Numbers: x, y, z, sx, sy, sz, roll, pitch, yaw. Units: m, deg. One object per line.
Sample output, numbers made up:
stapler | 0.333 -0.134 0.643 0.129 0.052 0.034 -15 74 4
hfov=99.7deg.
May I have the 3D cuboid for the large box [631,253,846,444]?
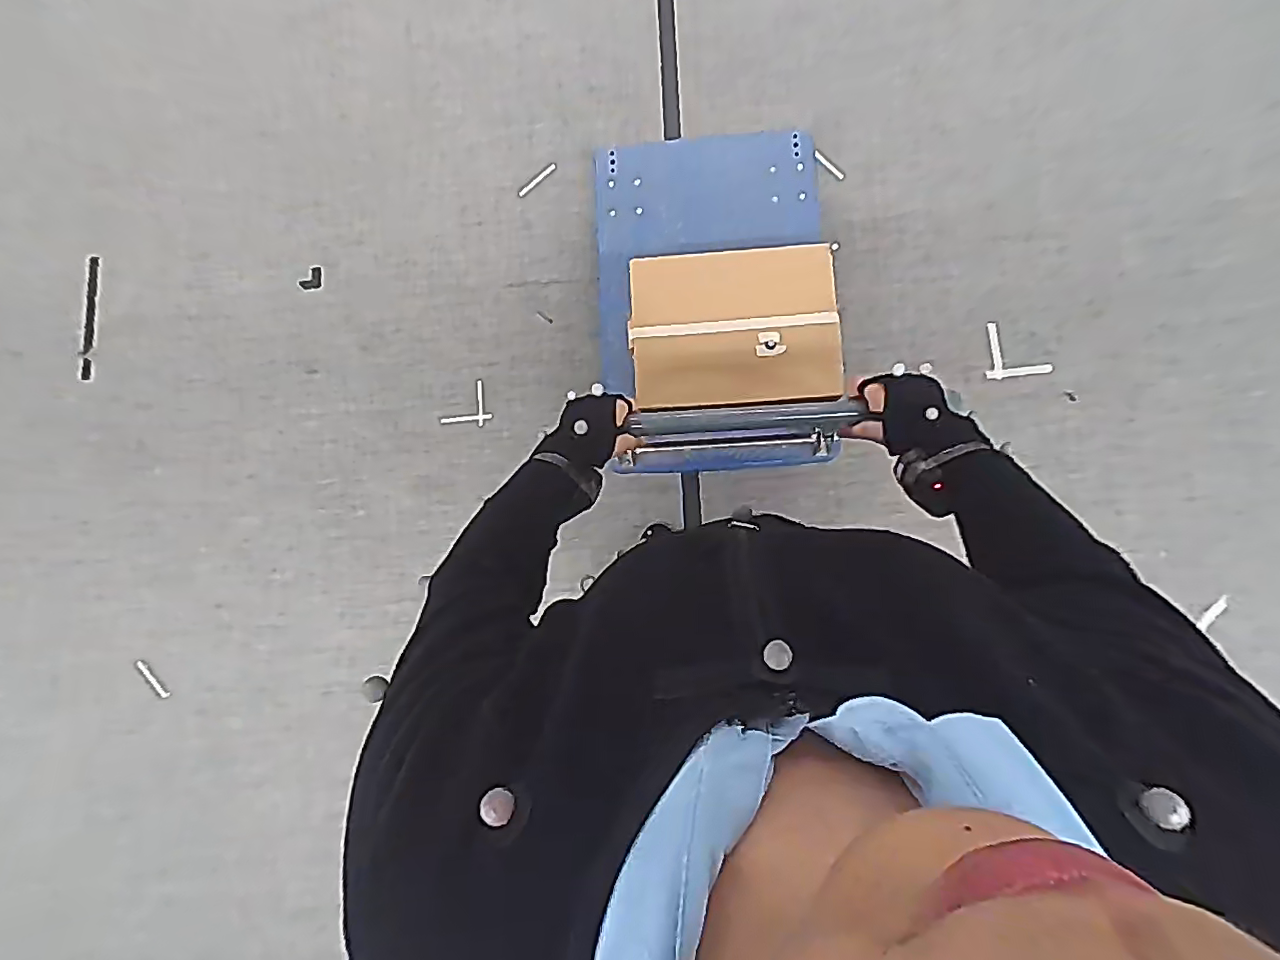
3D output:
large box | 0.196 -0.267 1.206 0.408 0.320 0.320 -3 85 3
